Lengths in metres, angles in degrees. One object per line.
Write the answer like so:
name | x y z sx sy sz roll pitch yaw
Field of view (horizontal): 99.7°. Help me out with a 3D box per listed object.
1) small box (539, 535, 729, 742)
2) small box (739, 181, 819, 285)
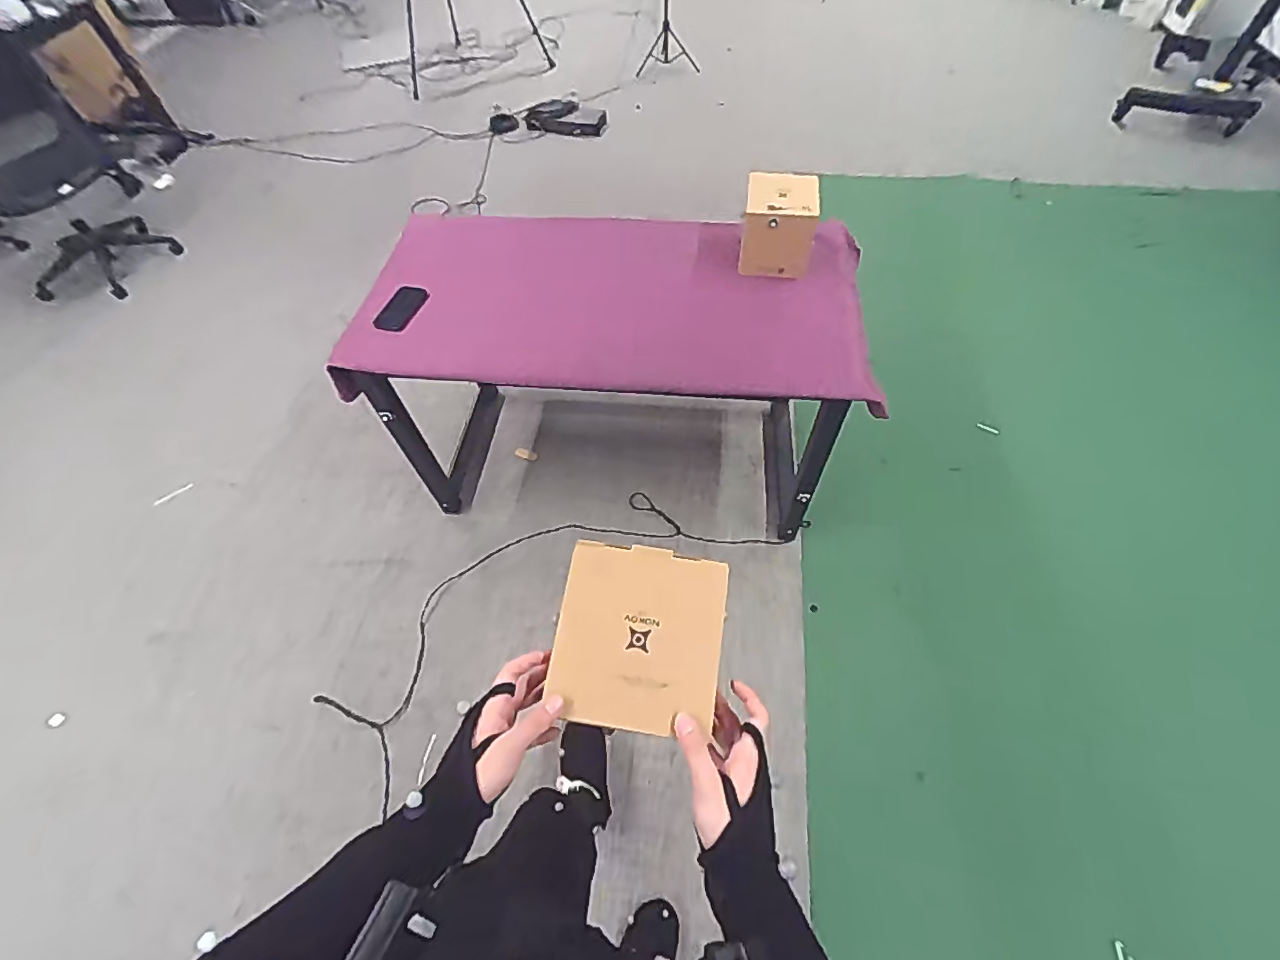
small box | -0.003 0.179 0.609 0.168 0.176 0.179 9 70 3
small box | 0.340 -0.611 1.338 0.168 0.176 0.179 6 56 7
